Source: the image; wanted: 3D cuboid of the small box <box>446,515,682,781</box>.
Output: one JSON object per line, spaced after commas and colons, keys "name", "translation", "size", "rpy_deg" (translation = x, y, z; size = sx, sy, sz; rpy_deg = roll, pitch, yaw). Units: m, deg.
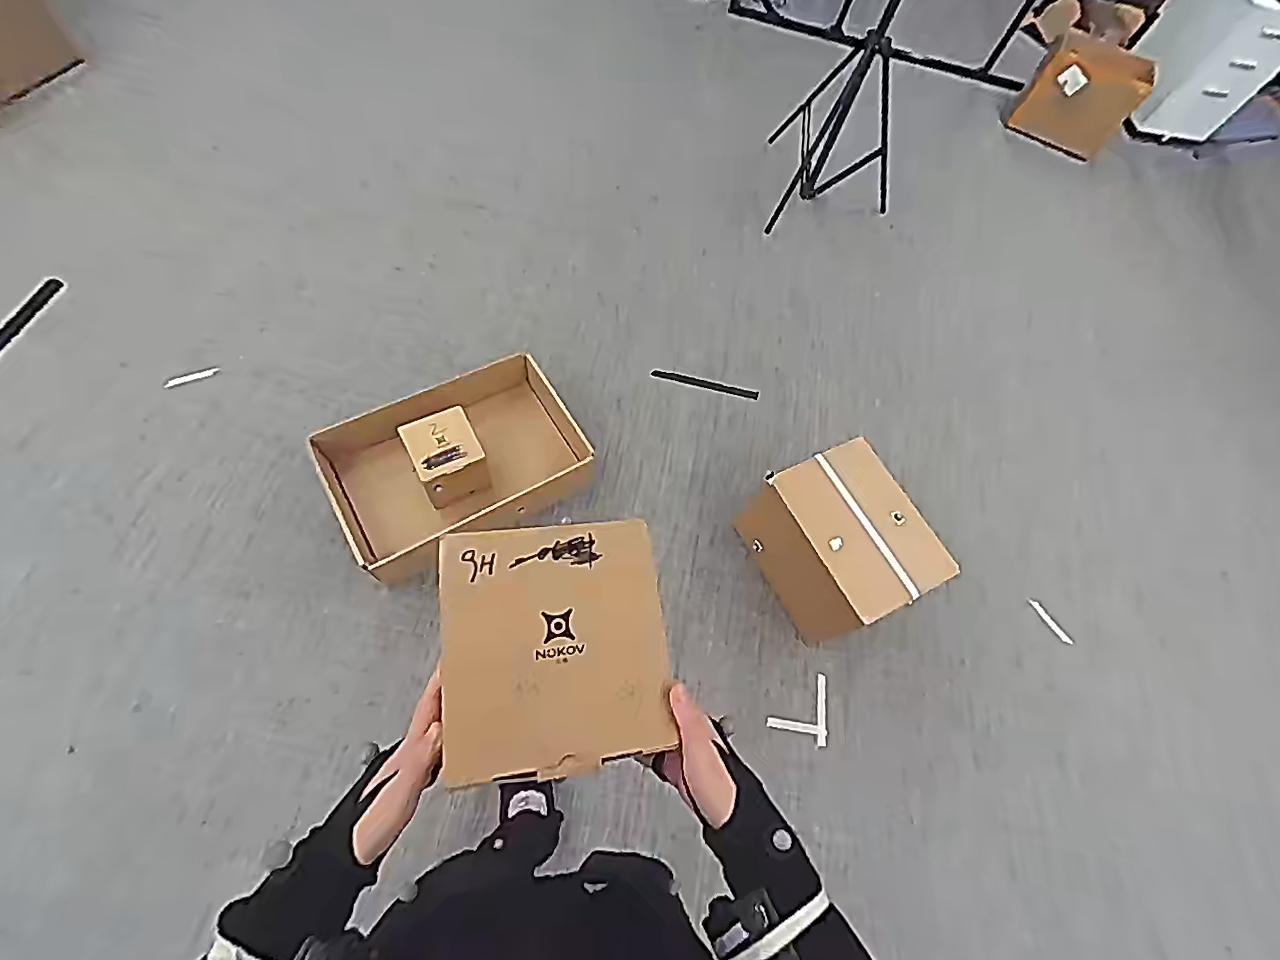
{"name": "small box", "translation": [-0.075, 0.141, 0.473], "size": [0.168, 0.176, 0.179], "rpy_deg": [-3, 69, -16]}
